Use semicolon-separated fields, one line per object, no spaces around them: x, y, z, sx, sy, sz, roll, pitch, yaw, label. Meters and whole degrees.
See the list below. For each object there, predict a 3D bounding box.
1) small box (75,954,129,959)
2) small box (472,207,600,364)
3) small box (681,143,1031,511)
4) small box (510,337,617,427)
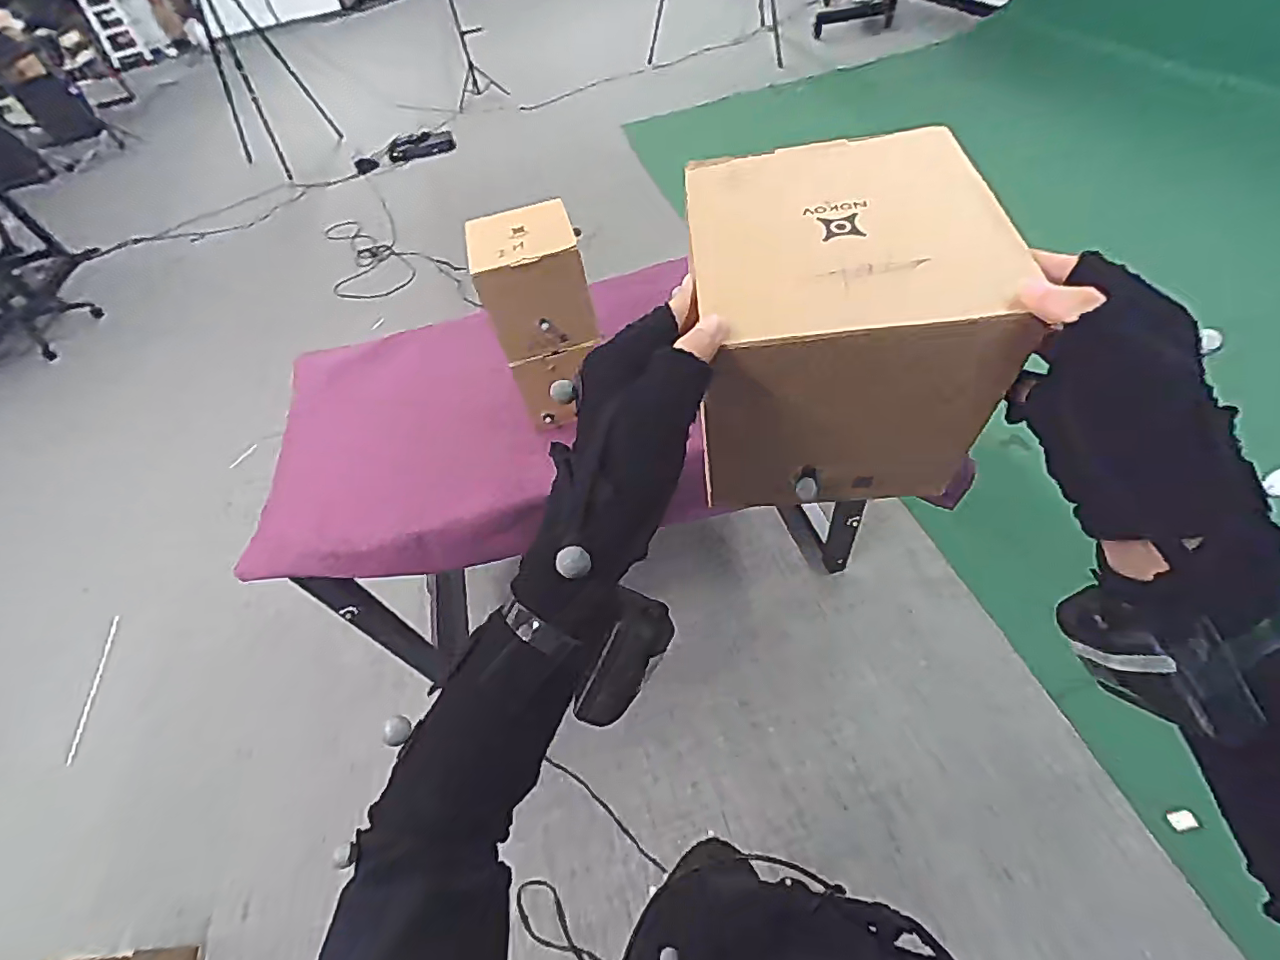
-1.082;0.991;0.969;0.168;0.176;0.179;-18;51;-4;small box
-0.175;-0.328;0.917;0.168;0.176;0.179;-16;51;-2;small box
0.117;-0.098;0.378;0.168;0.176;0.179;-5;56;7;small box
-0.149;-0.221;1.040;0.168;0.176;0.179;-15;50;-2;small box
